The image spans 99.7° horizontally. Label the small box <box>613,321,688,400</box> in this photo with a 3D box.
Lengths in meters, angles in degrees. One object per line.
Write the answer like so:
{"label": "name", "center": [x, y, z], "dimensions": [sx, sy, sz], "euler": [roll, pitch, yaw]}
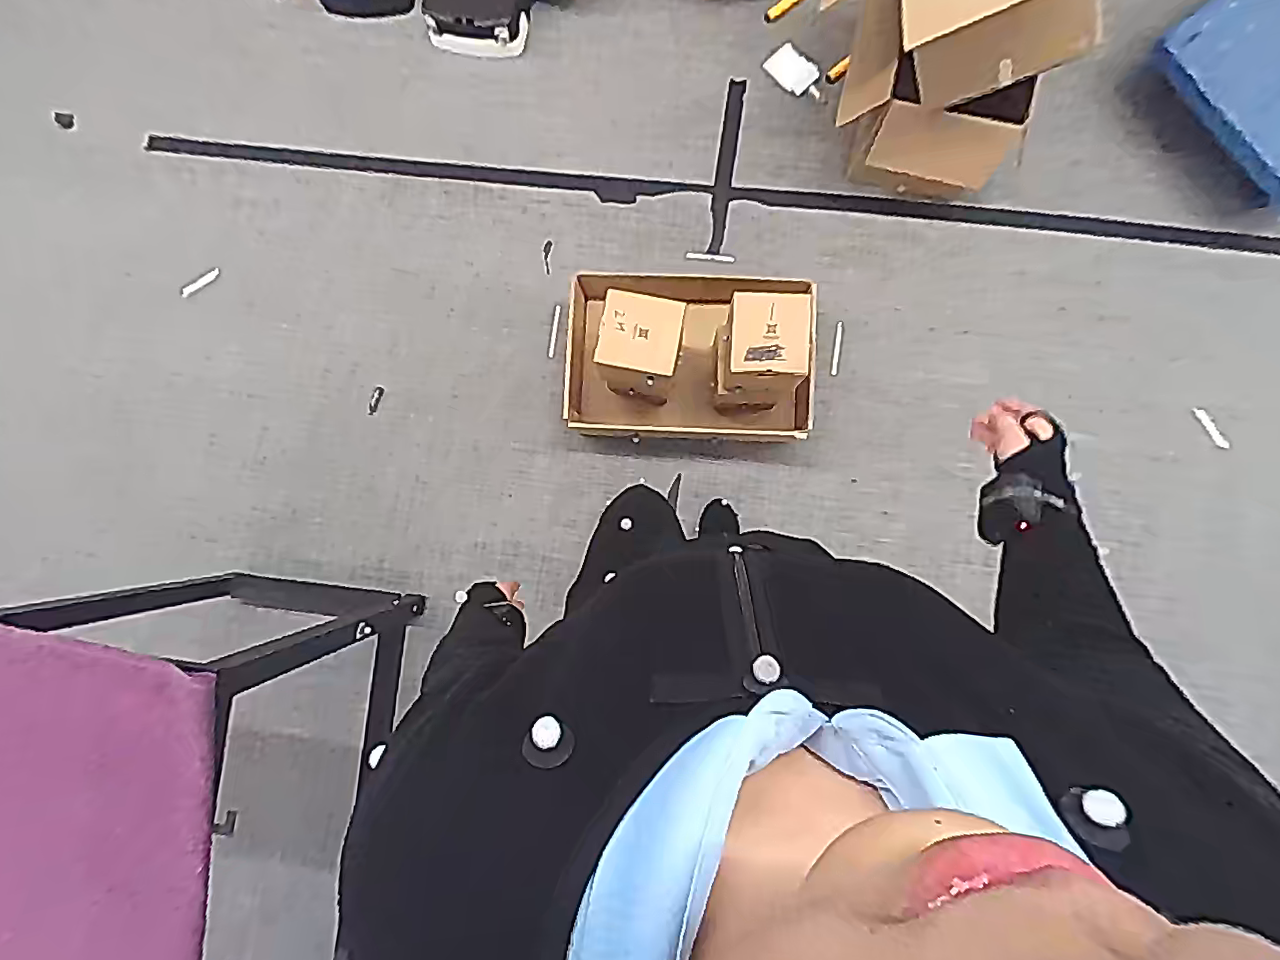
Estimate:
{"label": "small box", "center": [0.021, -0.324, 1.405], "dimensions": [0.168, 0.176, 0.179], "euler": [14, 87, 2]}

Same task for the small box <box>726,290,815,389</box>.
{"label": "small box", "center": [0.288, -0.309, 1.222], "dimensions": [0.168, 0.176, 0.179], "euler": [3, 86, 4]}

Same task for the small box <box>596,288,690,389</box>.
{"label": "small box", "center": [0.009, -0.315, 1.239], "dimensions": [0.179, 0.176, 0.168], "euler": [11, 87, 2]}
